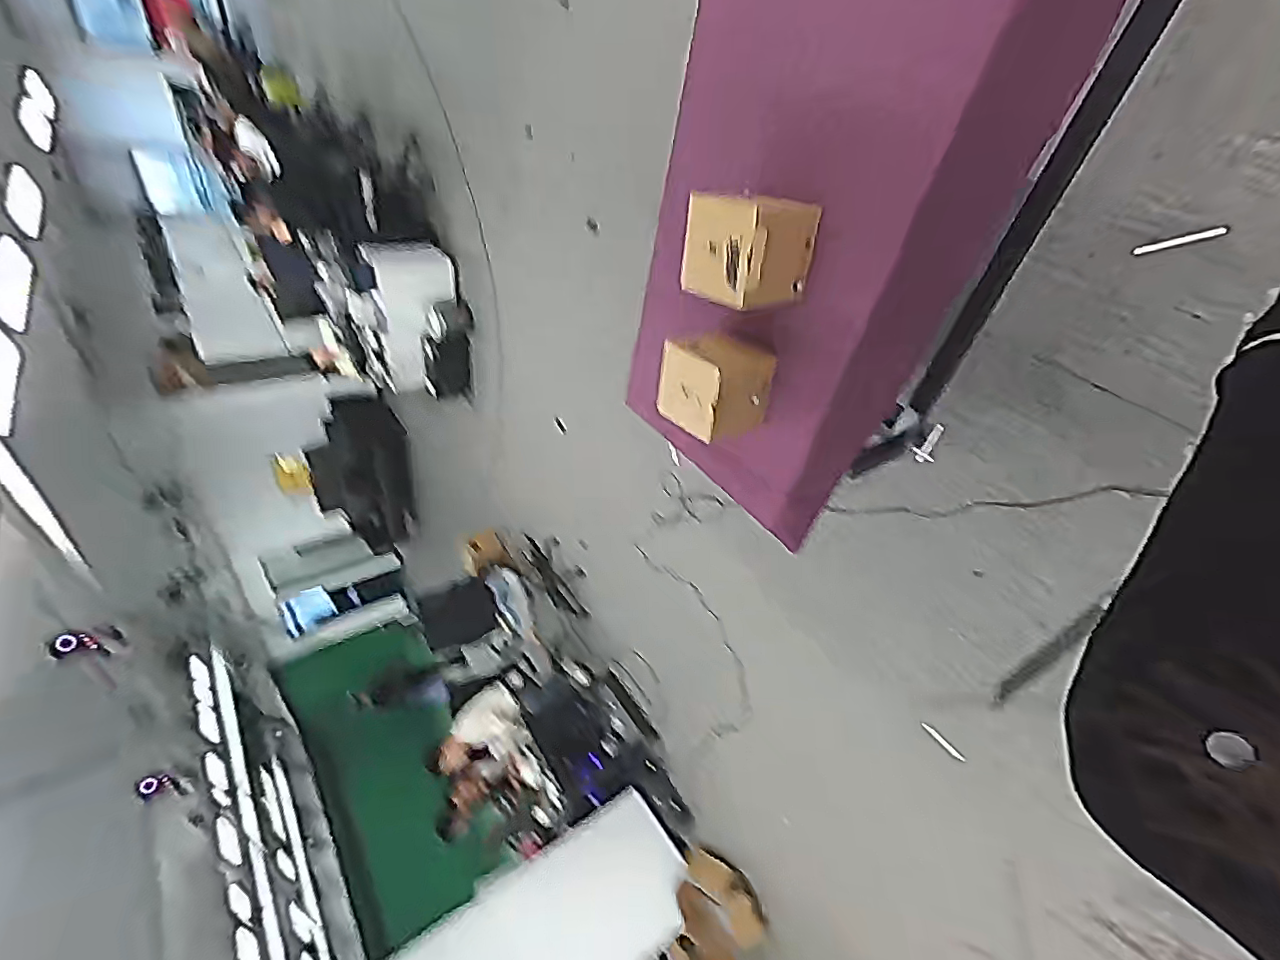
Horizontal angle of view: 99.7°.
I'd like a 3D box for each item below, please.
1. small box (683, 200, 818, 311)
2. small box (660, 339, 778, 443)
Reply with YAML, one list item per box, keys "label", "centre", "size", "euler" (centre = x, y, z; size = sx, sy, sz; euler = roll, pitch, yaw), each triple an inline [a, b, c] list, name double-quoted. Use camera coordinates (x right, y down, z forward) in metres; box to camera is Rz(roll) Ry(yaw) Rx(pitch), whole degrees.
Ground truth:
- label: "small box"
  centre: [0.206, -0.431, 1.023]
  size: [0.179, 0.176, 0.168]
  euler: [37, 134, 42]
- label: "small box"
  centre: [0.169, -0.204, 1.188]
  size: [0.179, 0.176, 0.168]
  euler: [38, 135, 40]
